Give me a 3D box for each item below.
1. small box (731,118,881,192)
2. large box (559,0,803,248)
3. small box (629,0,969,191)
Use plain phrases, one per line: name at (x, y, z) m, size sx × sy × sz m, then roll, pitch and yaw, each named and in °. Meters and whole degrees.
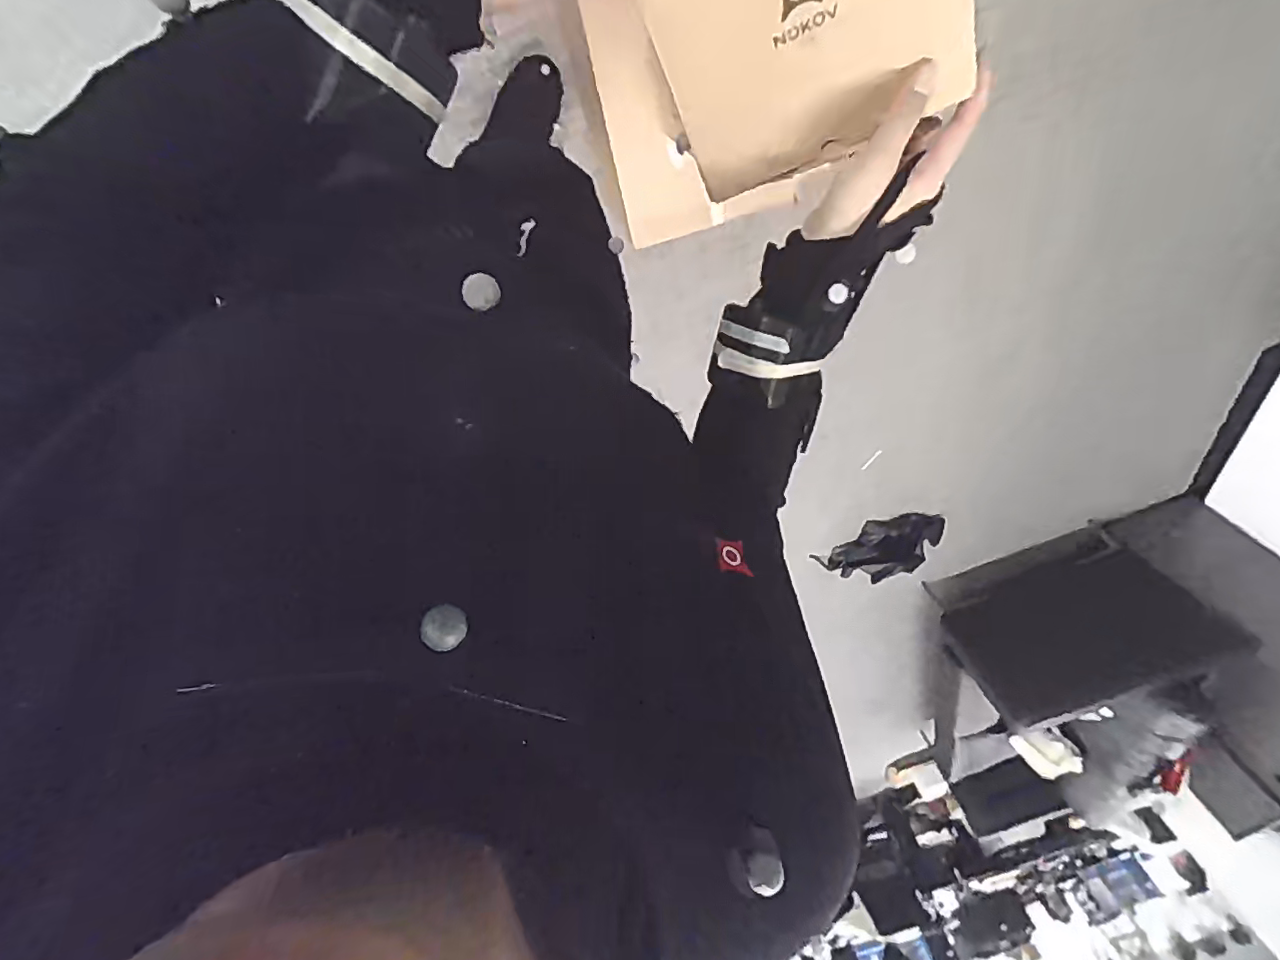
small box at (0.150, -0.457, 0.599) m, size 0.168 × 0.176 × 0.179 m, roll -20°, pitch 133°, yaw 2°
large box at (0.067, -0.691, 0.926) m, size 0.320 × 0.320 × 0.408 m, roll -17°, pitch 134°, yaw 1°
small box at (0.092, -0.330, 0.336) m, size 0.168 × 0.176 × 0.179 m, roll -10°, pitch 138°, yaw 28°
